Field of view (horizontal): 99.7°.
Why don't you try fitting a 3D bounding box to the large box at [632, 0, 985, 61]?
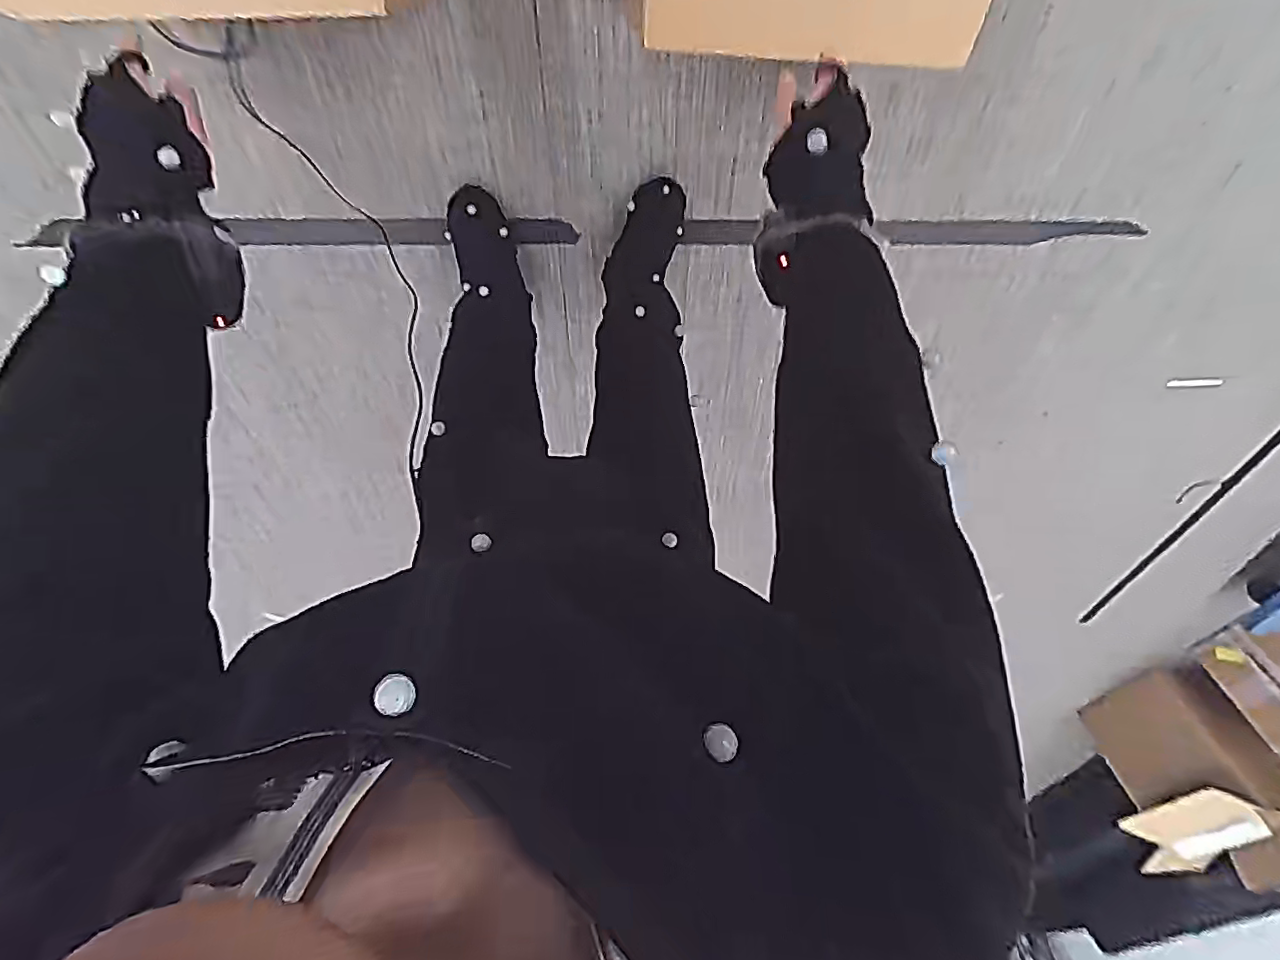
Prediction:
[{"bbox_3d":[0.203,-0.732,0.662,0.408,0.320,0.320,-1,134,-6],"label":"large box"}]
